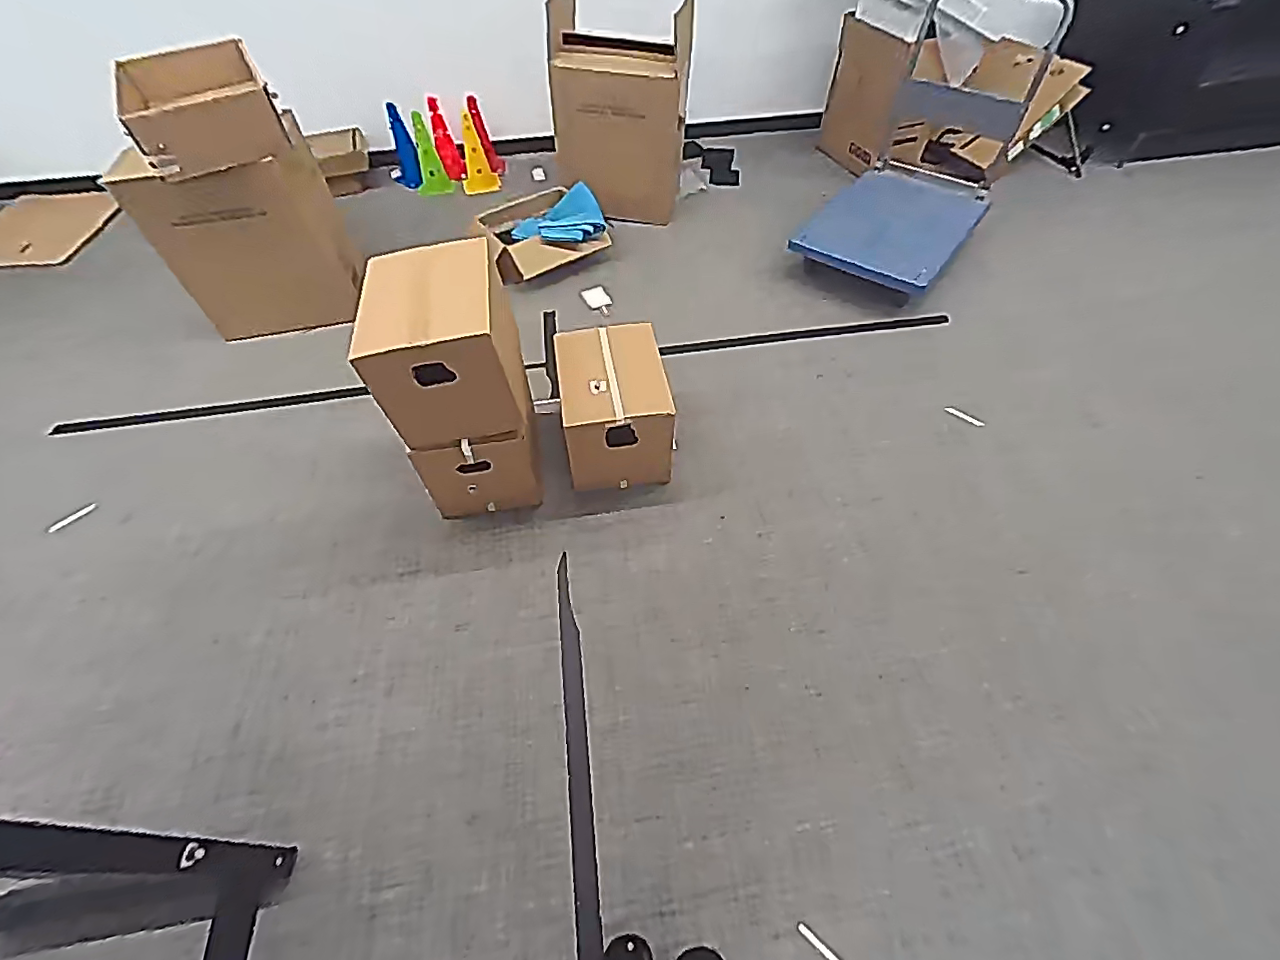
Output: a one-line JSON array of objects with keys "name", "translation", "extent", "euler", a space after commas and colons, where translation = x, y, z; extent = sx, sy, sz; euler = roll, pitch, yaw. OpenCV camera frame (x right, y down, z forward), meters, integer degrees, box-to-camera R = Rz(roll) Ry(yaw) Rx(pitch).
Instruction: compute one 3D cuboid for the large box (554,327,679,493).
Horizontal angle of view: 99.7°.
[{"name": "large box", "translation": [-0.080, -0.222, 1.702], "extent": [0.320, 0.320, 0.408], "euler": [-9, 54, -5]}]
